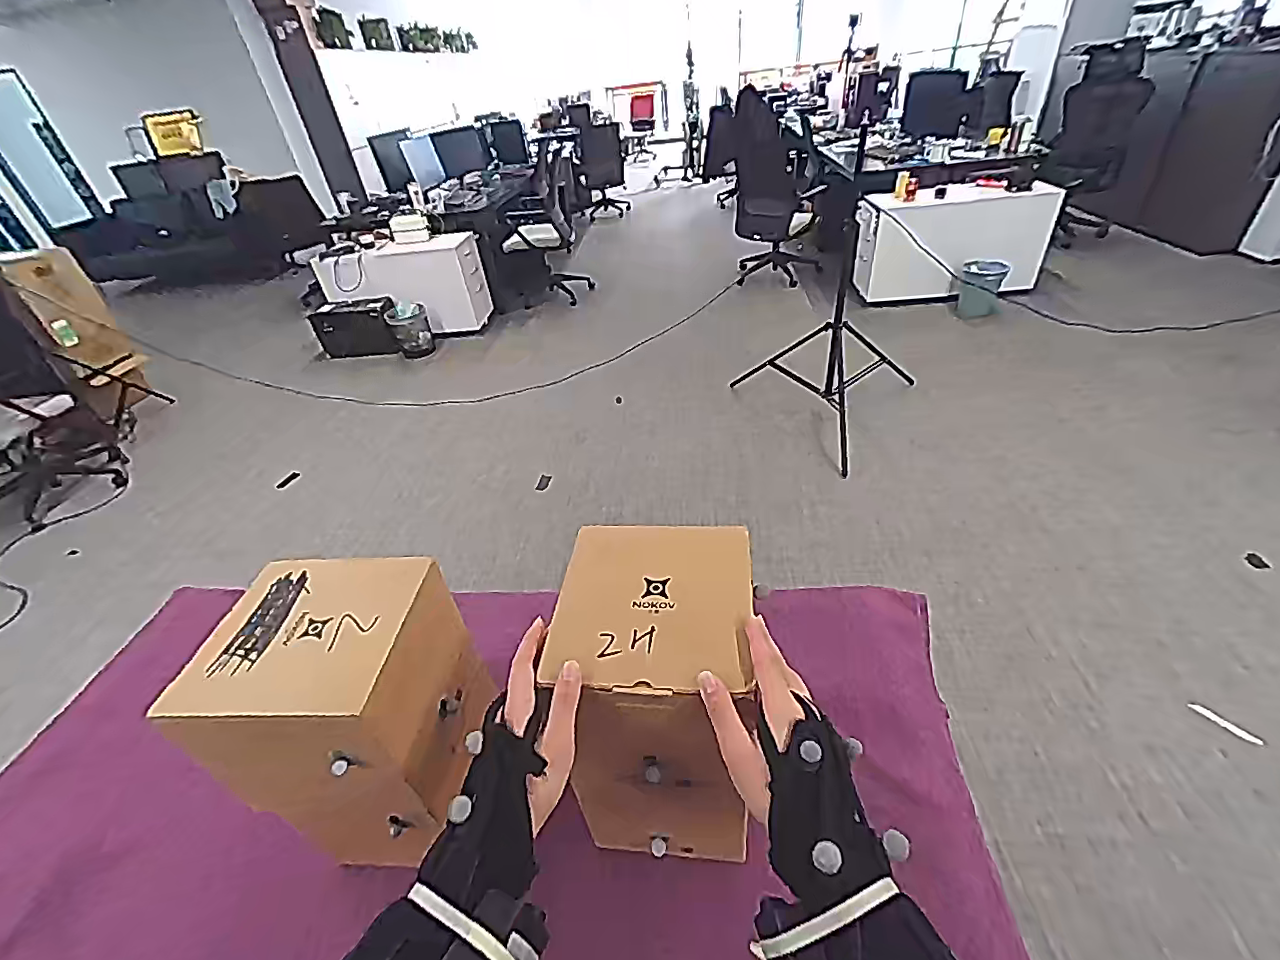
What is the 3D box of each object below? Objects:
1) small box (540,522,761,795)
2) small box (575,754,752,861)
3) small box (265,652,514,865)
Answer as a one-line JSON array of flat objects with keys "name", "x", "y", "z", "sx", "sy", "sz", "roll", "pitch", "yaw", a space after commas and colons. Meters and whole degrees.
[{"name": "small box", "x": 0.023, "y": 0.158, "z": 0.503, "sx": 0.168, "sy": 0.176, "sz": 0.179, "roll": -1, "pitch": 37, "yaw": 10}, {"name": "small box", "x": 0.037, "y": 0.288, "z": 0.605, "sx": 0.168, "sy": 0.176, "sz": 0.179, "roll": 0, "pitch": 38, "yaw": 10}, {"name": "small box", "x": -0.264, "y": 0.317, "z": 0.621, "sx": 0.179, "sy": 0.176, "sz": 0.168, "roll": -2, "pitch": 37, "yaw": 6}]
